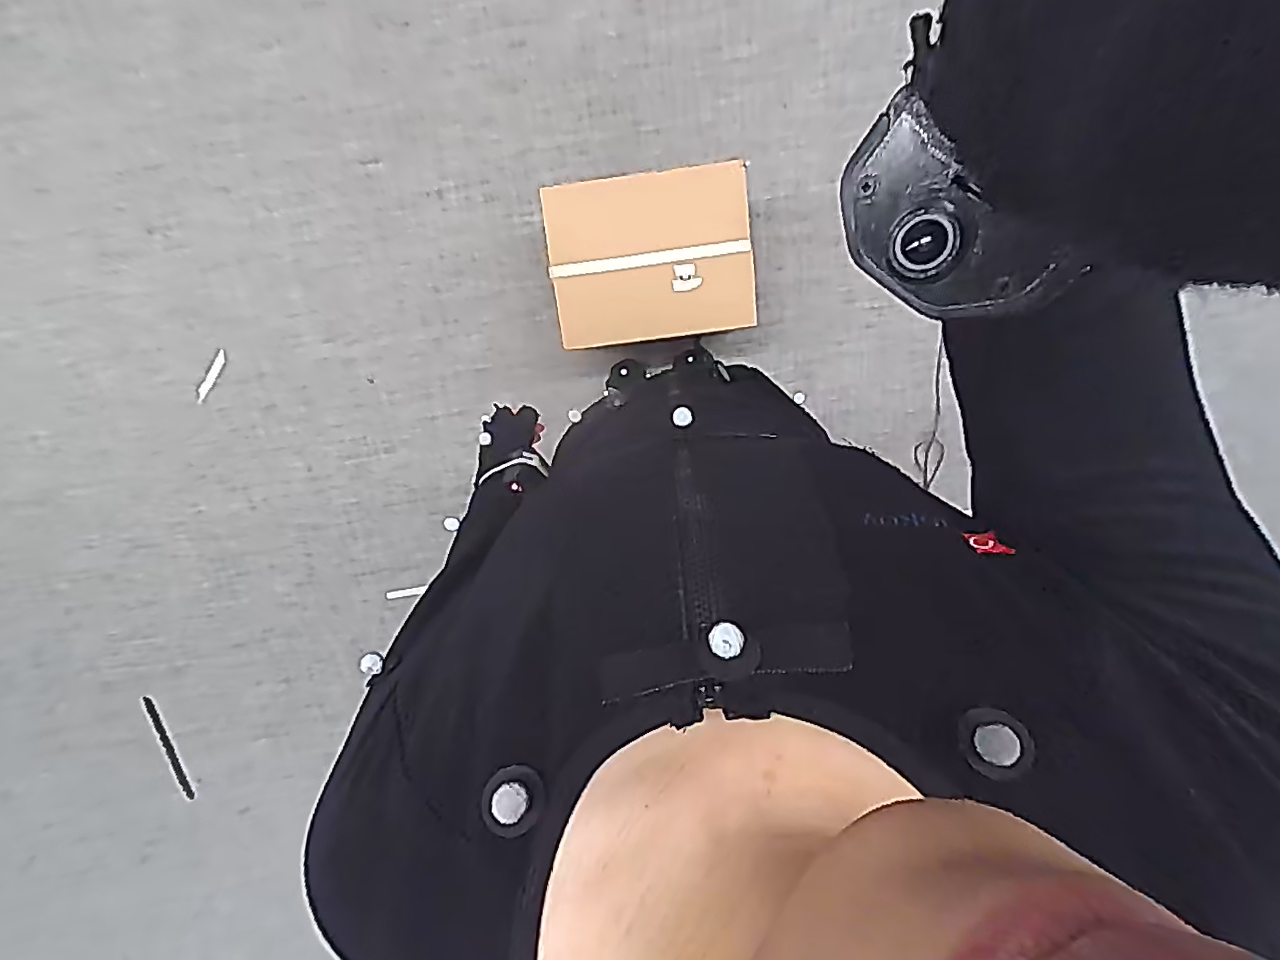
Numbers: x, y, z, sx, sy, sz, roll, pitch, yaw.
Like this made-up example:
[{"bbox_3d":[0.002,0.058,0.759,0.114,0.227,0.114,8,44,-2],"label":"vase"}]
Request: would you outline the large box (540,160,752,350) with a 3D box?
[{"bbox_3d":[0.016,-0.484,1.238,0.408,0.320,0.320,-7,104,2],"label":"large box"}]
